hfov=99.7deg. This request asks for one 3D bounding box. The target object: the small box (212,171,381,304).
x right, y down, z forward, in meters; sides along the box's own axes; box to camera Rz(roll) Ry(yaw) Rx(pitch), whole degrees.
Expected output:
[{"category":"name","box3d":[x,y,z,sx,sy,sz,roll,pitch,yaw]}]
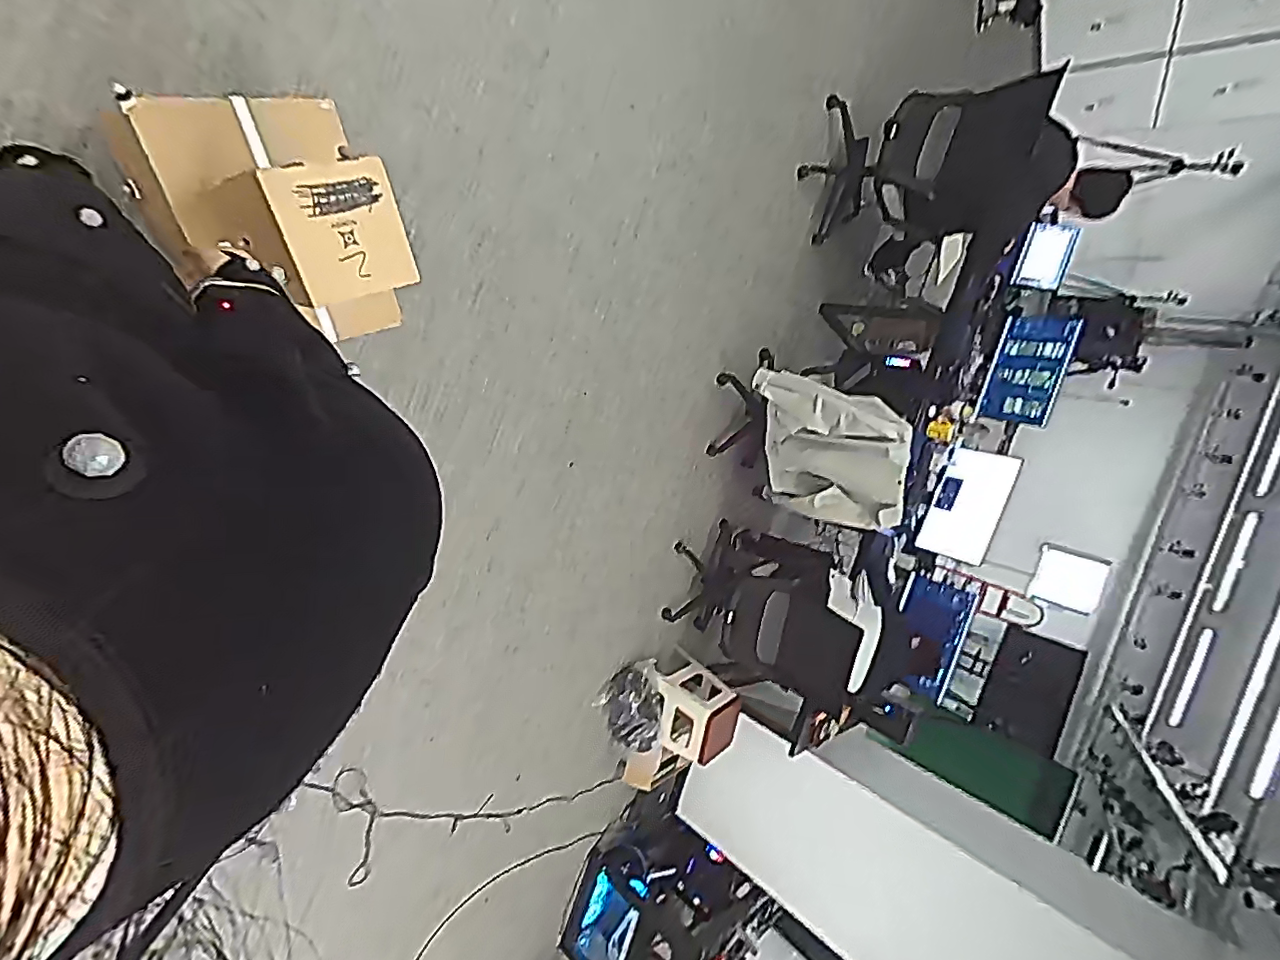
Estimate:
[{"category":"small box","box3d":[-0.584,-0.413,0.922,0.168,0.176,0.179,-34,130,-35]}]
